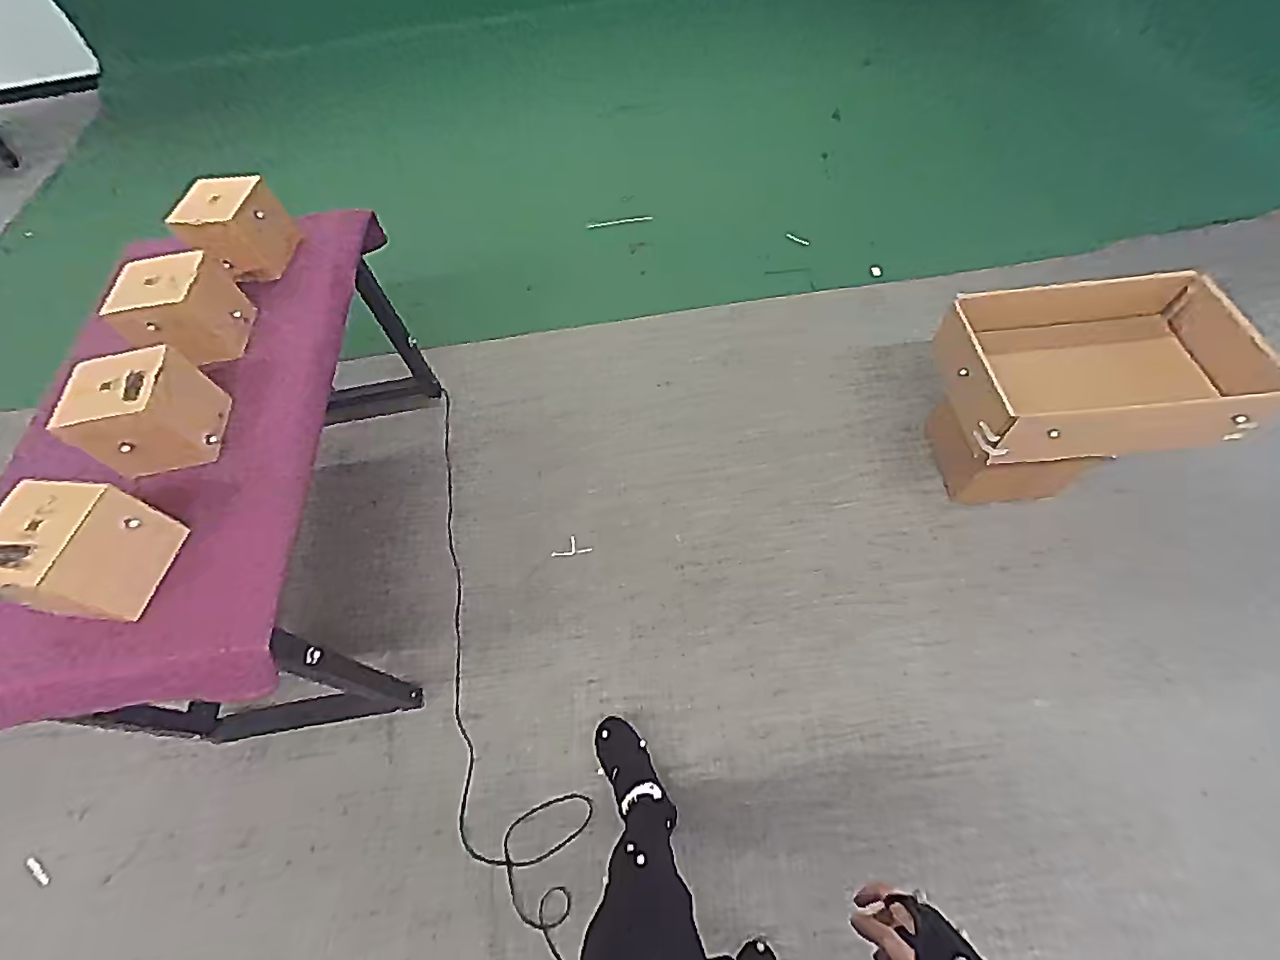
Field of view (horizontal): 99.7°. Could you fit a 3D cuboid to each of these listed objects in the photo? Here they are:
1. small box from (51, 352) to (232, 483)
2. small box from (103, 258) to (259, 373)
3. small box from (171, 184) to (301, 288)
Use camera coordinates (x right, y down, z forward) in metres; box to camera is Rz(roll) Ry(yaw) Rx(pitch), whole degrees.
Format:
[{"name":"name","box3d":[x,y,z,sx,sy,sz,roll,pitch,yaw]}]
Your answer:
[{"name":"small box","box3d":[-0.943,-0.116,1.045,0.179,0.176,0.168,-12,58,0]},{"name":"small box","box3d":[-0.998,-0.356,1.194,0.179,0.176,0.168,-9,59,0]},{"name":"small box","box3d":[-0.985,-0.601,1.340,0.168,0.176,0.179,0,60,6]}]
